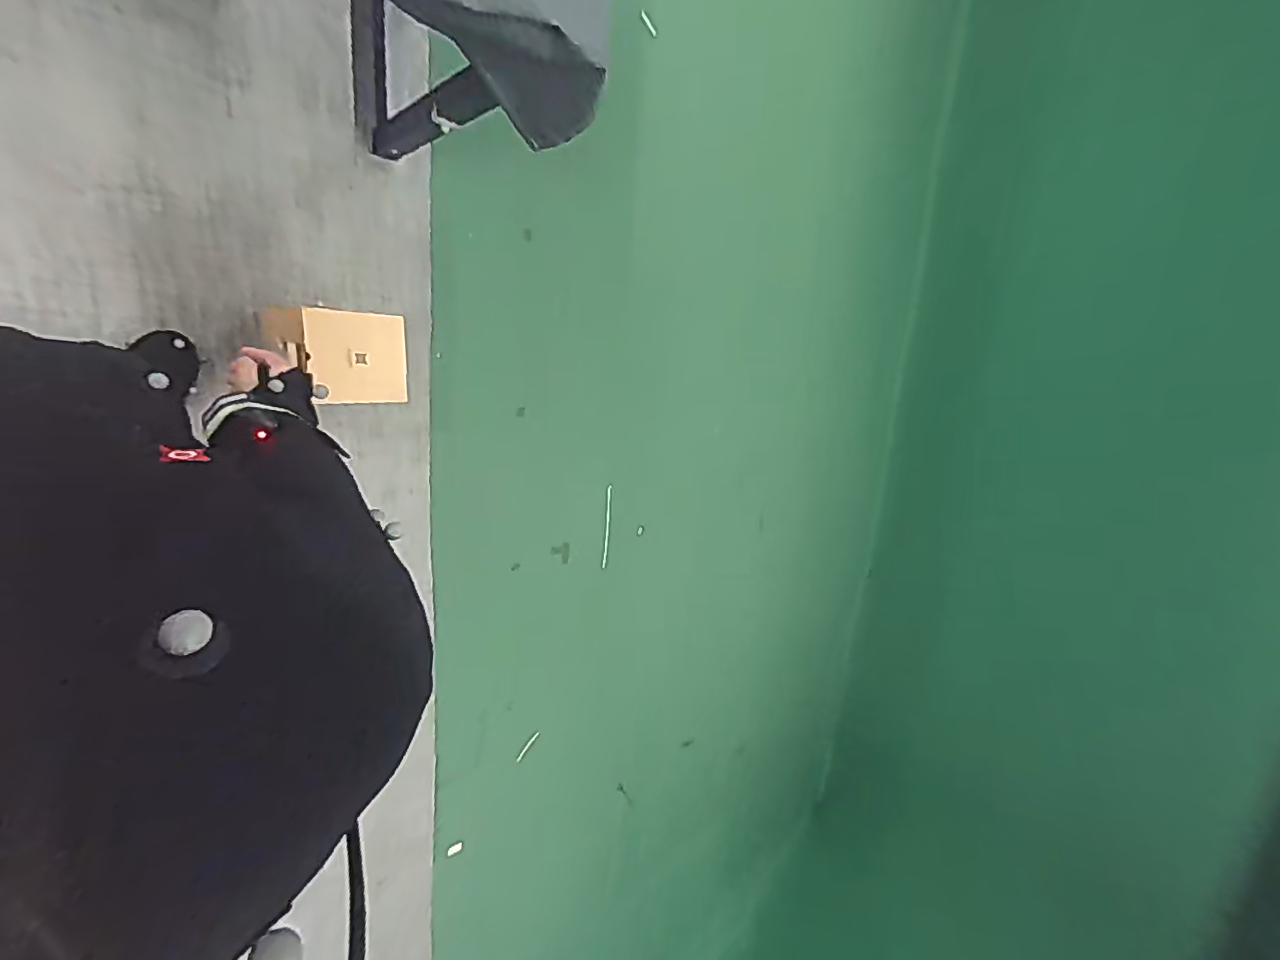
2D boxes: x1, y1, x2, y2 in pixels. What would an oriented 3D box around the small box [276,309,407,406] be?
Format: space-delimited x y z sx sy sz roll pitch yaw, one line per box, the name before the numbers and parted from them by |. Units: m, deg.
small box | -0.569 -0.235 1.035 0.179 0.176 0.168 -10 109 -44
